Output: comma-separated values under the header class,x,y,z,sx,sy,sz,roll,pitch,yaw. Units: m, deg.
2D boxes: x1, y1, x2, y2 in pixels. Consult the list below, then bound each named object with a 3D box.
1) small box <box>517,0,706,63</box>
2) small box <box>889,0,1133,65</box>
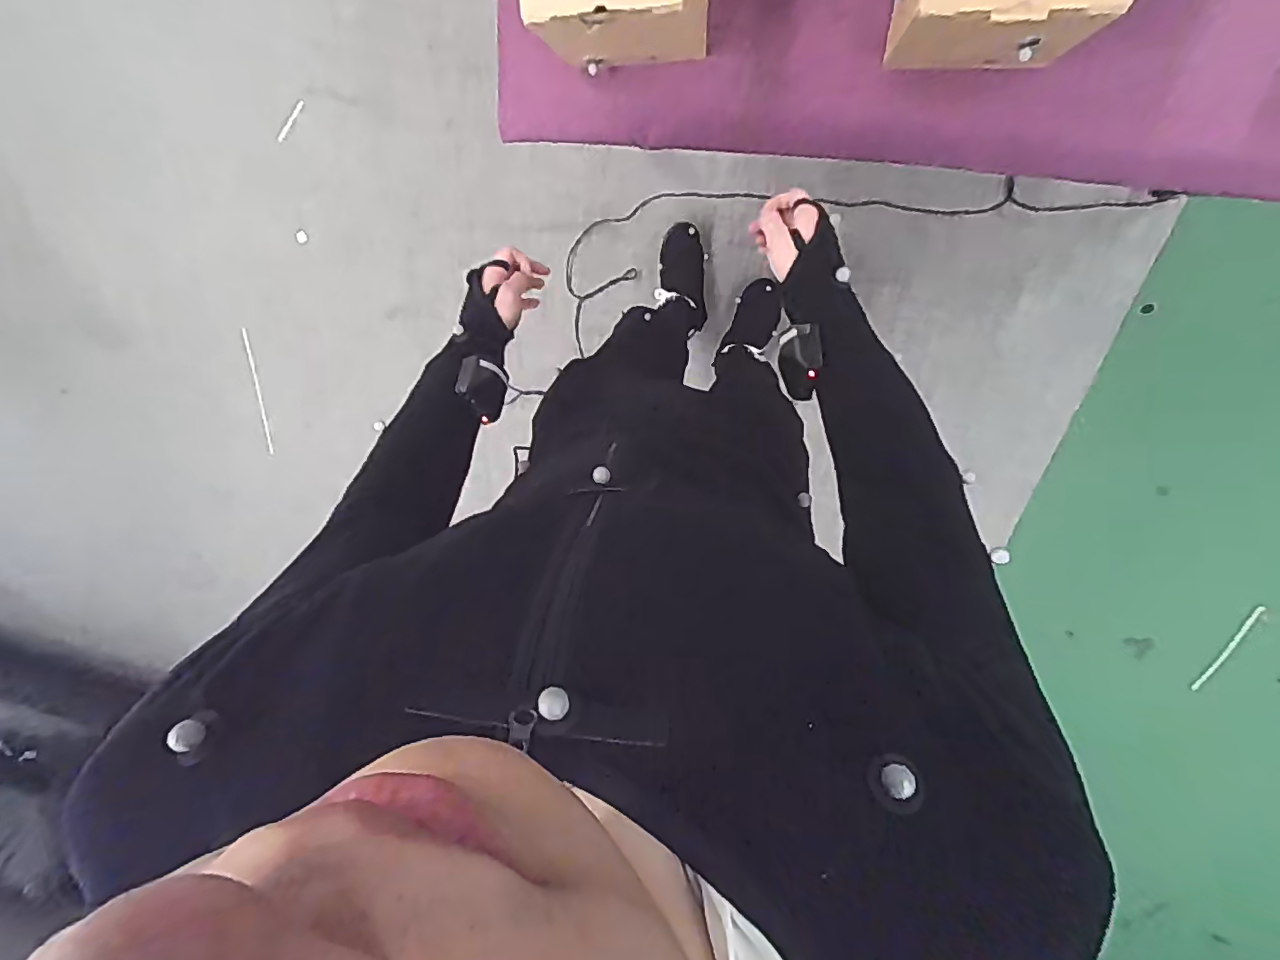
class,x,y,z,sx,sy,sz,roll,pitch,yaw
small box,-0.022,-0.550,0.549,0.168,0.176,0.179,5,114,12
small box,0.337,-0.495,0.483,0.168,0.176,0.179,8,115,10
